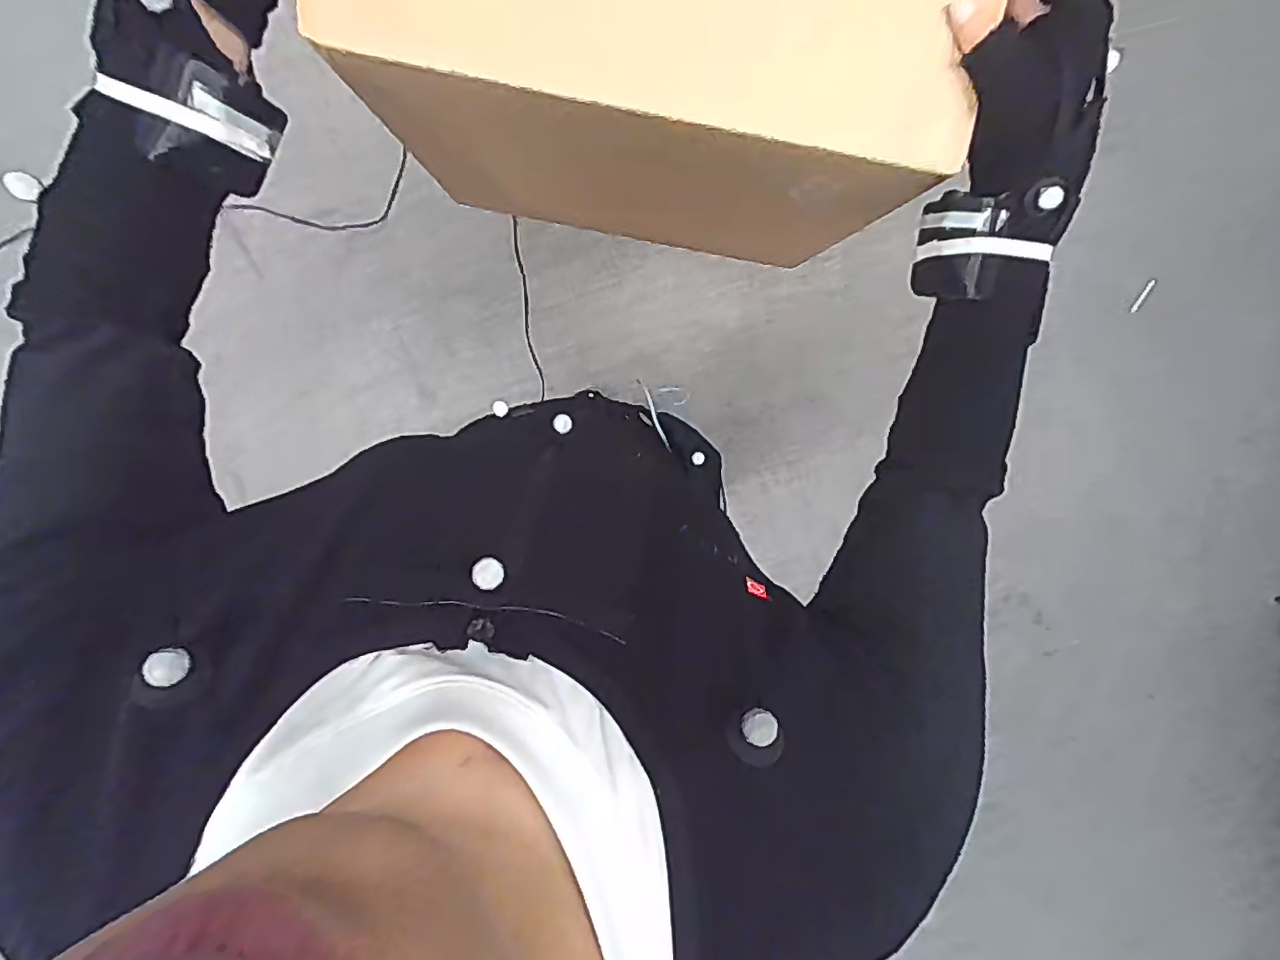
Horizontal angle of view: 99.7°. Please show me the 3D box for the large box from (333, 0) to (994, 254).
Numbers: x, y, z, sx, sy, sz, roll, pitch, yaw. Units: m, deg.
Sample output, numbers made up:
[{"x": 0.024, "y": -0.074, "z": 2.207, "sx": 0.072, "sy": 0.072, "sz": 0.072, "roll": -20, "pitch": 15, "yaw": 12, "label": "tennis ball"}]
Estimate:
[{"x": 0.023, "y": -0.410, "z": 0.454, "sx": 0.408, "sy": 0.320, "sz": 0.320, "roll": 8, "pitch": 101, "yaw": -6, "label": "large box"}]
